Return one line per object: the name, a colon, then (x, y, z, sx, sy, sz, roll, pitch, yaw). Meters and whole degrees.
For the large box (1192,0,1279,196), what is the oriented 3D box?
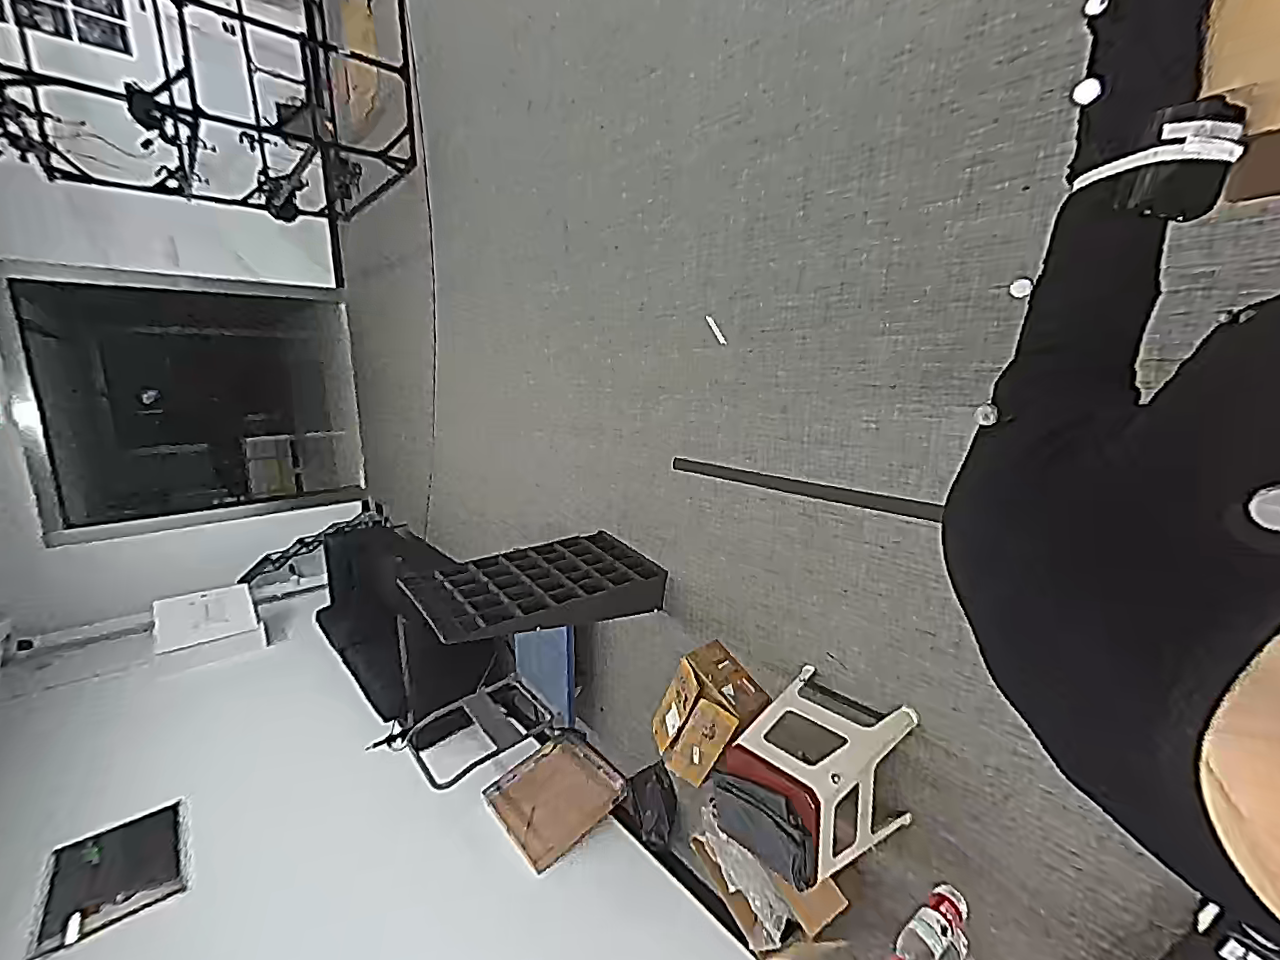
large box: (0.628, -0.399, 0.306, 0.408, 0.320, 0.320, 11, 110, 49)
